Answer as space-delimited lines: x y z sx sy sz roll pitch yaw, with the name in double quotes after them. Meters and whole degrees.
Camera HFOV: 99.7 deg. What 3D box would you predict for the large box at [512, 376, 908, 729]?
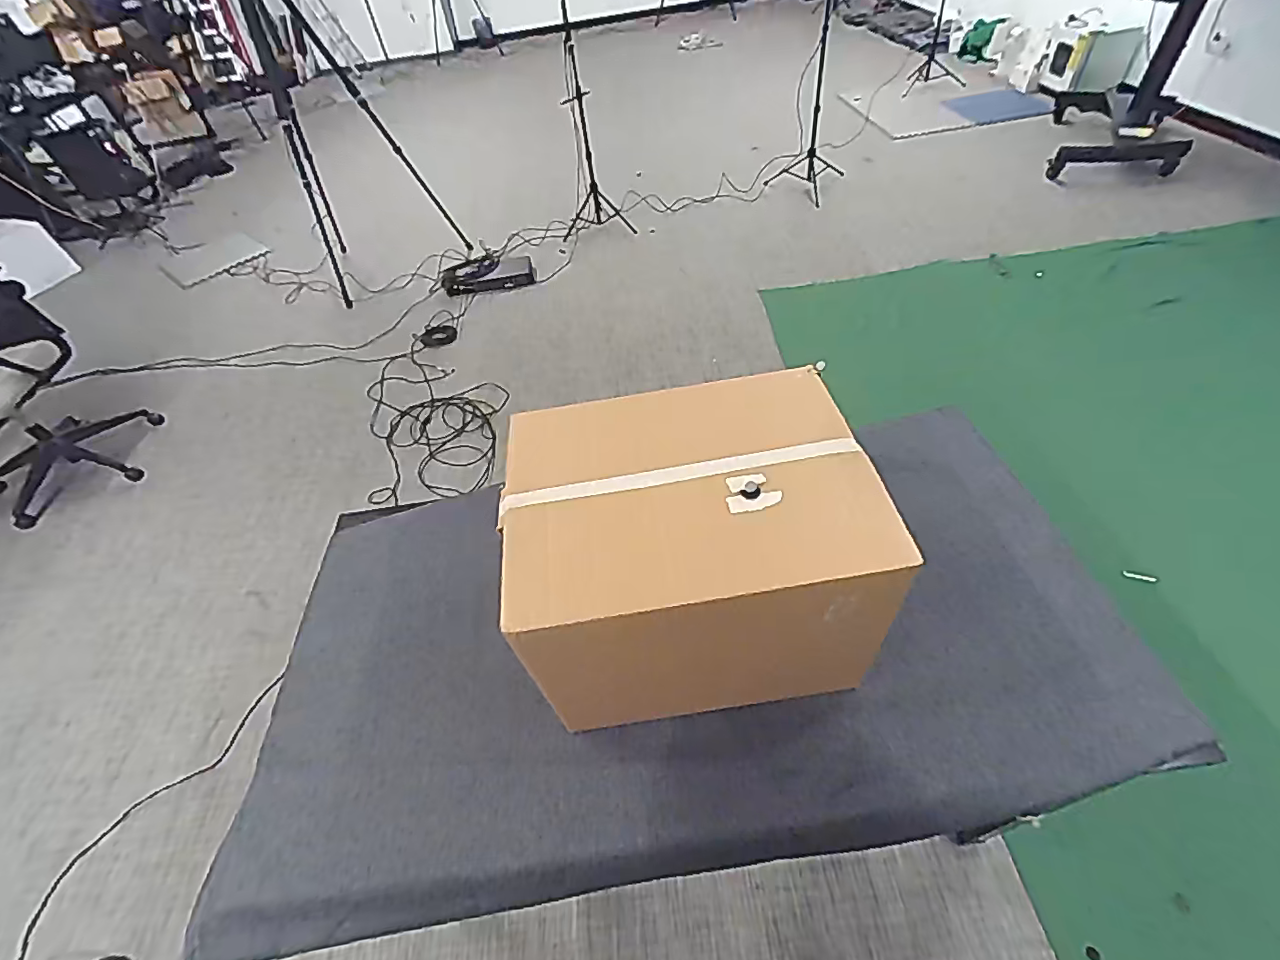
0.063 0.102 0.733 0.408 0.320 0.320 -9 49 -1 "large box"
